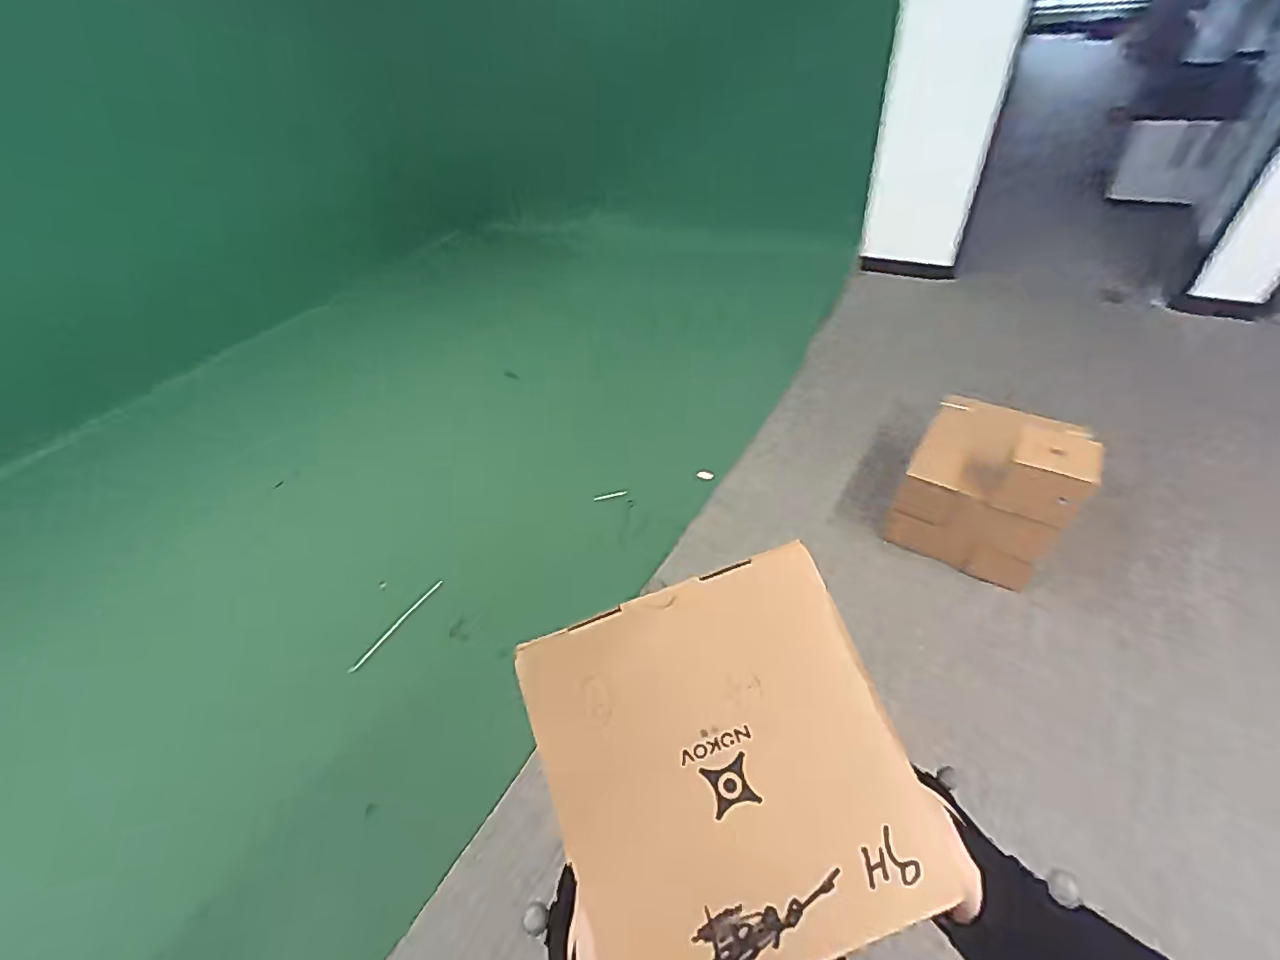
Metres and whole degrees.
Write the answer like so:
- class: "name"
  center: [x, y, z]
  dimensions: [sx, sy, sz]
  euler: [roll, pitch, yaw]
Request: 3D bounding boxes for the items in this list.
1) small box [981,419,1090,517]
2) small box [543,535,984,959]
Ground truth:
- class: "small box"
  center: [1.029, -0.028, 1.415]
  dimensions: [0.179, 0.176, 0.168]
  euler: [20, 51, 26]
- class: "small box"
  center: [0.054, 0.156, 0.338]
  dimensions: [0.168, 0.176, 0.179]
  euler: [-19, 73, -3]
